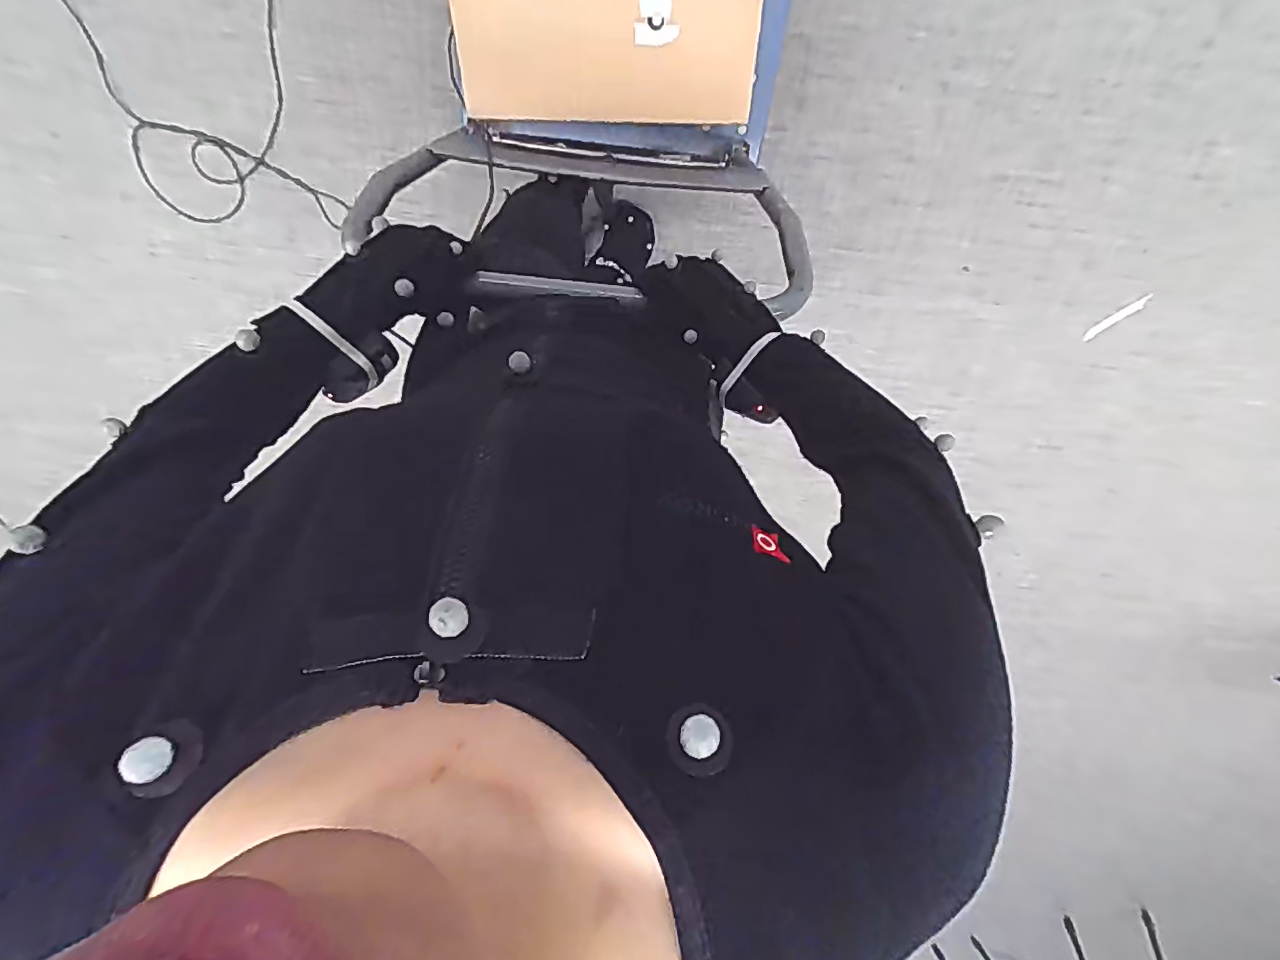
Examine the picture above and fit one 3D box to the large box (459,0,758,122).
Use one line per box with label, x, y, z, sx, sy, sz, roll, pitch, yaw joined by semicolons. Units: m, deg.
large box;-0.045;-0.738;0.819;0.408;0.320;0.320;0;127;-1
